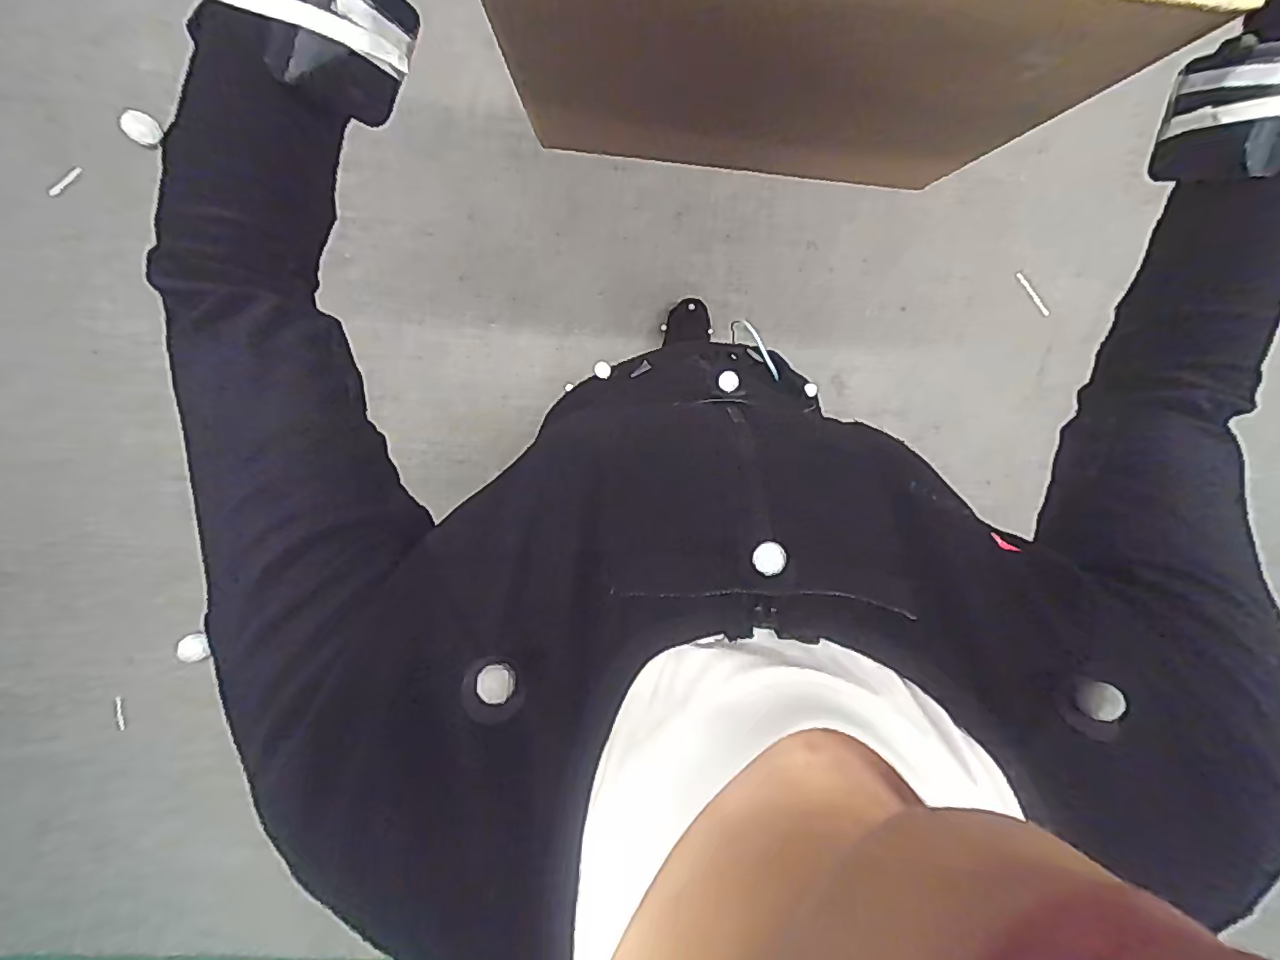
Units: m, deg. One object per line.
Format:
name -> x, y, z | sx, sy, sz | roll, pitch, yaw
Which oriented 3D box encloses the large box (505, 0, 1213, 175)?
large box -> 0.116, -0.444, 0.382 | 0.408, 0.320, 0.320 | 3, 104, -4
